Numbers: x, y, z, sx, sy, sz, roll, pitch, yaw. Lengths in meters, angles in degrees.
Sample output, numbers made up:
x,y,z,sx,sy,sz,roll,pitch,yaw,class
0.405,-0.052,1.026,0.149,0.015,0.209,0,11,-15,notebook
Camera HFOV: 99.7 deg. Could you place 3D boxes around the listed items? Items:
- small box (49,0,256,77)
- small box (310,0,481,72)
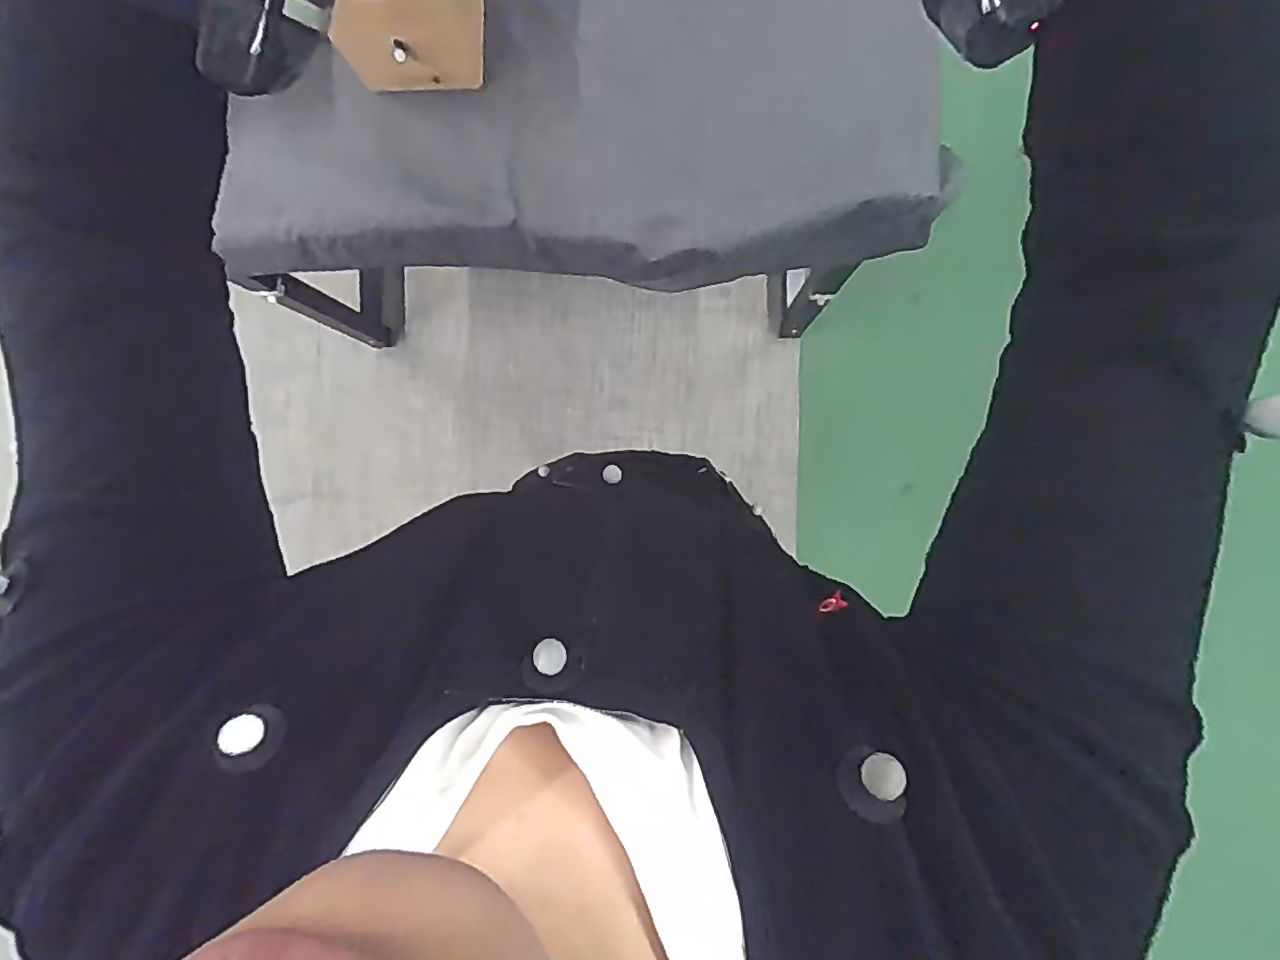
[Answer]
x,y,z,sx,sy,sz,roll,pitch,yaw,class
-0.636,-0.656,0.691,0.179,0.176,0.168,-2,90,2,small box
-0.305,-0.649,0.675,0.168,0.176,0.179,0,91,3,small box
